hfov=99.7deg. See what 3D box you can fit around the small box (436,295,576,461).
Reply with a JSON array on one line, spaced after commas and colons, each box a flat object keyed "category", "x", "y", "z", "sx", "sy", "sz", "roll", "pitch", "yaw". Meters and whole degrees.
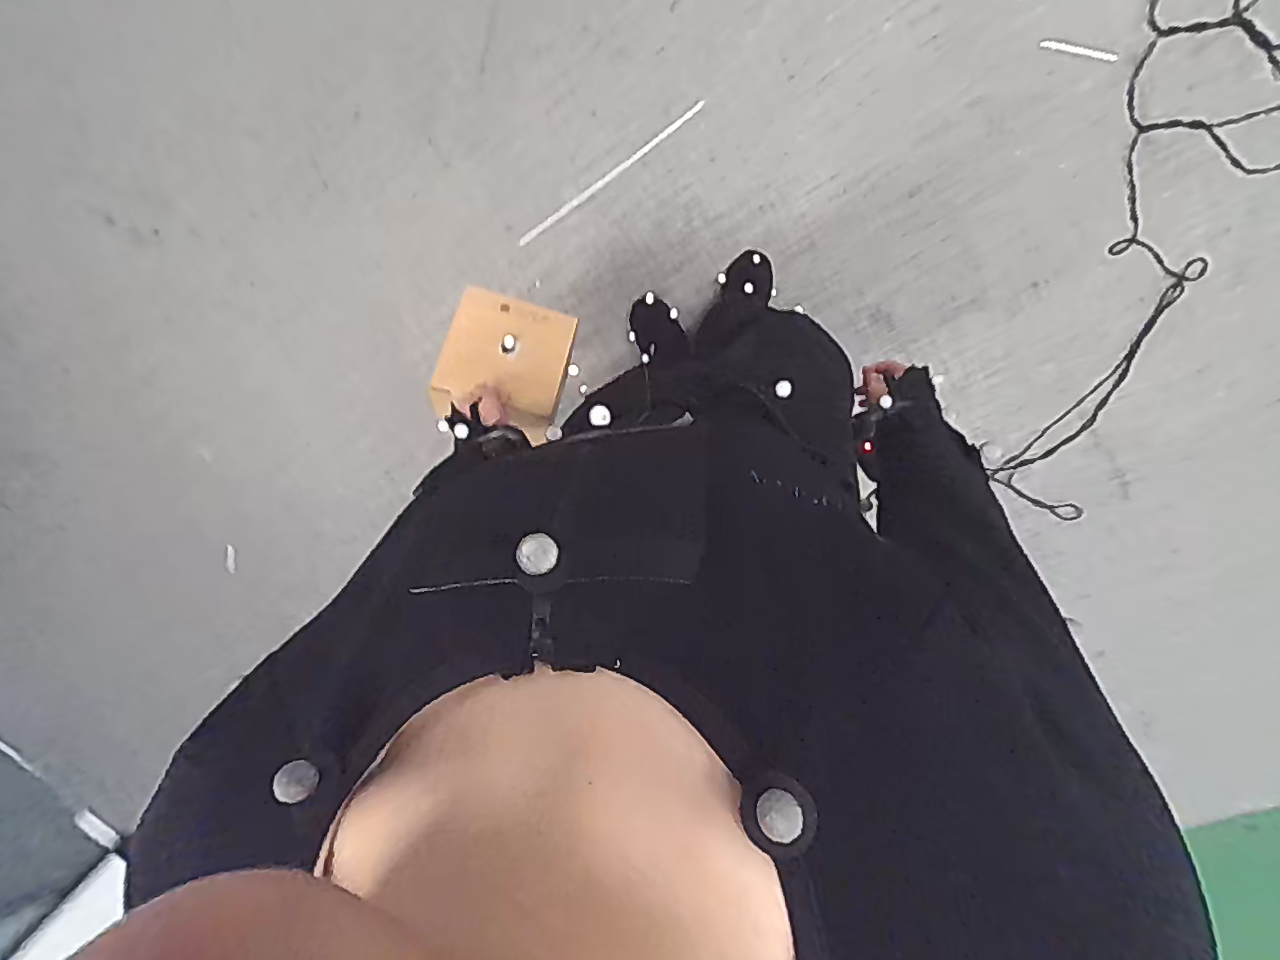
[{"category": "small box", "x": -0.199, "y": -0.152, "z": 0.830, "sx": 0.168, "sy": 0.179, "sz": 0.176, "roll": 14, "pitch": 70, "yaw": -9}]
